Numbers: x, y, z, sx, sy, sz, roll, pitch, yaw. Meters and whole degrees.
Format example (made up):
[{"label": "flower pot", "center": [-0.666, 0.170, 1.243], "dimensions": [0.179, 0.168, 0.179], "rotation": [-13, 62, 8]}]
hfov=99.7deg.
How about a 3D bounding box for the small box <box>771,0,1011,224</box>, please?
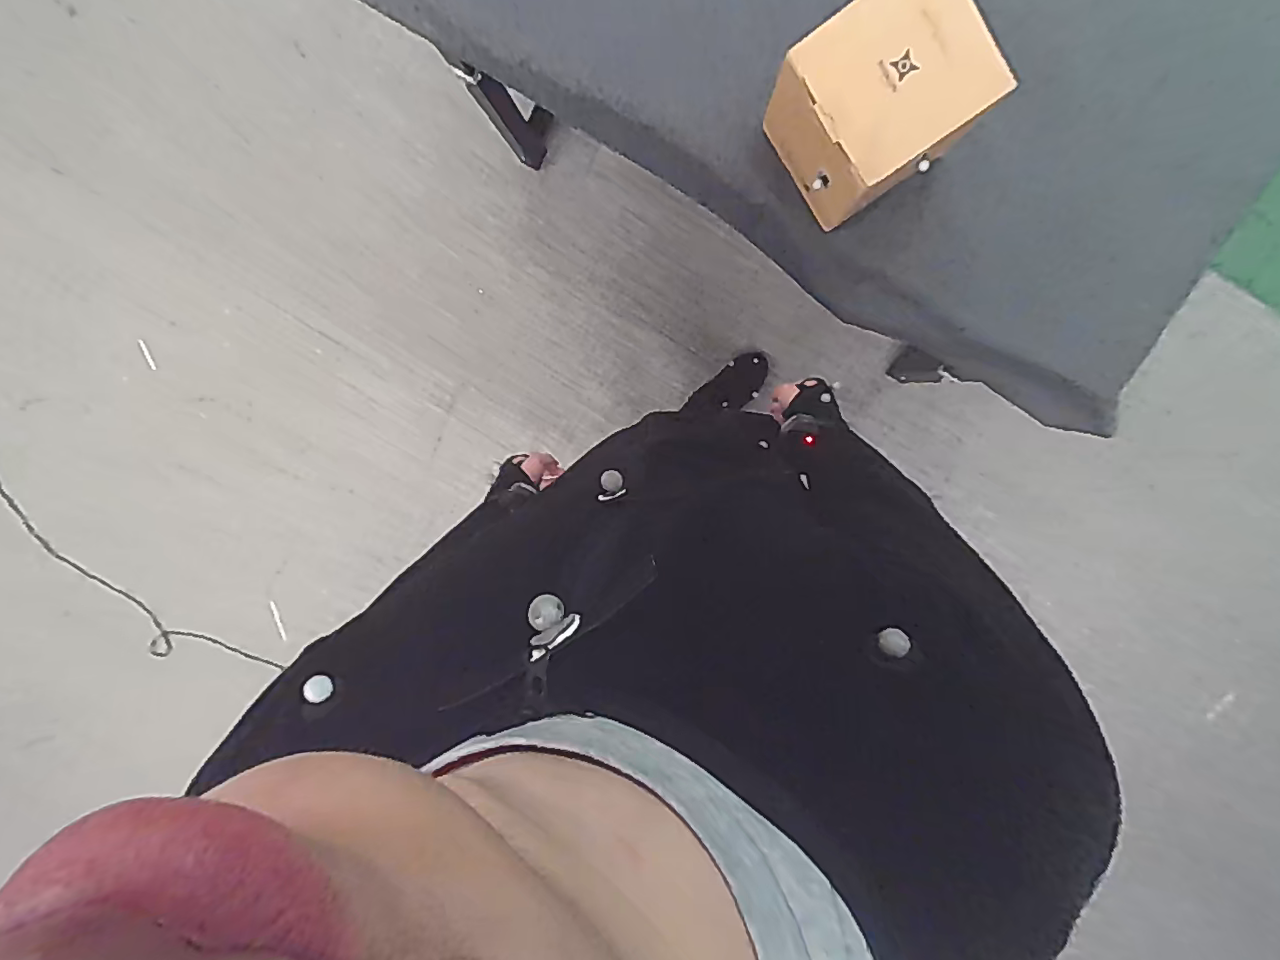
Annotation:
[{"label": "small box", "center": [0.271, -0.437, 0.634], "dimensions": [0.179, 0.176, 0.168], "rotation": [-33, 97, 8]}]
